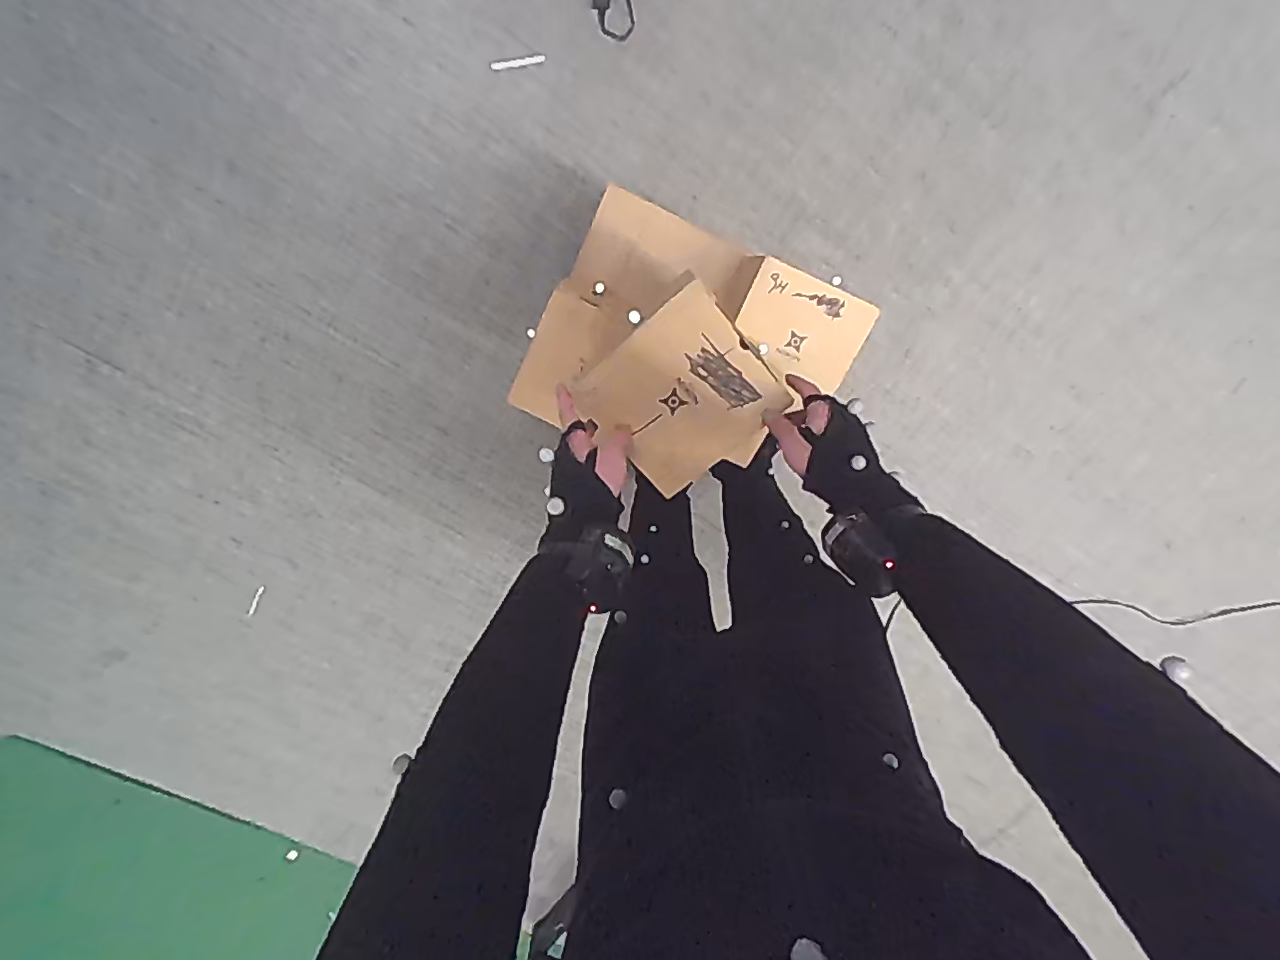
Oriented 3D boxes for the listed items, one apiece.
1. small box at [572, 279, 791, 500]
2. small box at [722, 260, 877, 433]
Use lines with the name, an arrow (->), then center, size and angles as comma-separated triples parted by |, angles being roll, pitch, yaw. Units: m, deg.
small box -> 0.046, -0.115, 0.636 | 0.179, 0.176, 0.168 | -38, 106, 18
small box -> 0.197, -0.197, 0.775 | 0.168, 0.176, 0.179 | 22, 111, -7
